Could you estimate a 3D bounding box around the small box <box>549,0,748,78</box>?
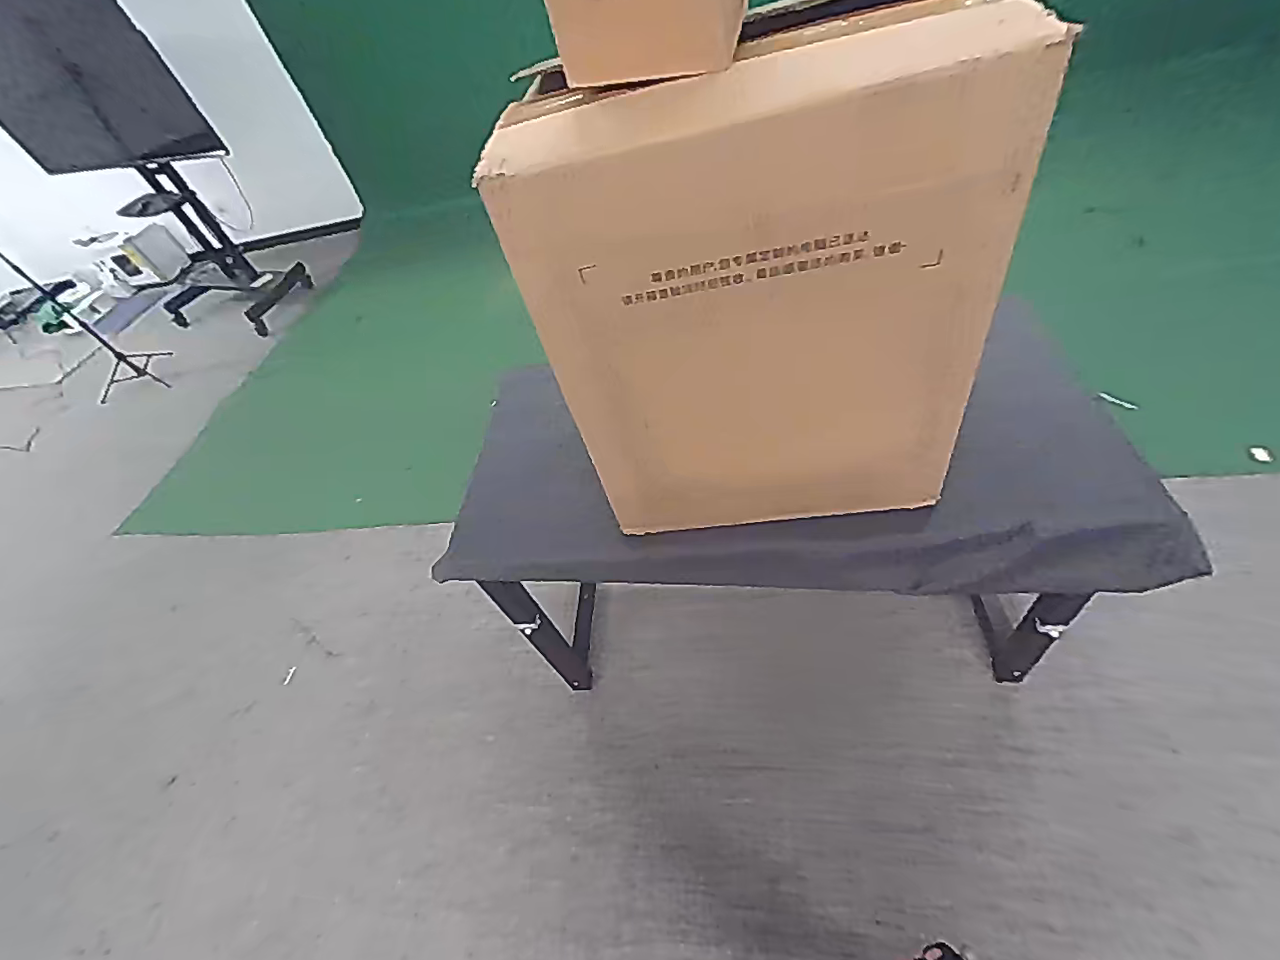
[{"bbox_3d":[0.005,-0.527,0.525,0.179,0.176,0.168,6,64,18],"label":"small box"}]
